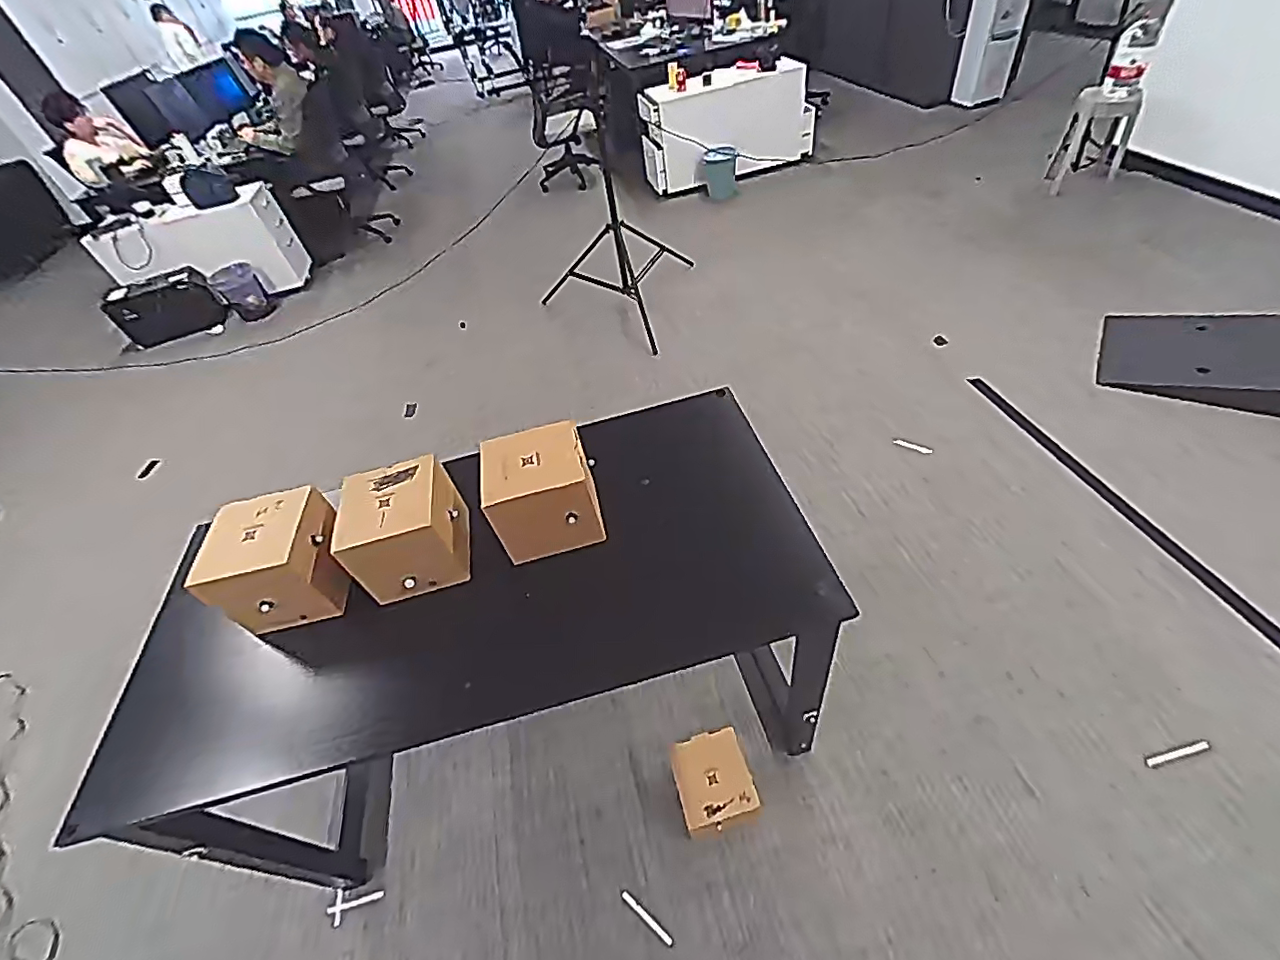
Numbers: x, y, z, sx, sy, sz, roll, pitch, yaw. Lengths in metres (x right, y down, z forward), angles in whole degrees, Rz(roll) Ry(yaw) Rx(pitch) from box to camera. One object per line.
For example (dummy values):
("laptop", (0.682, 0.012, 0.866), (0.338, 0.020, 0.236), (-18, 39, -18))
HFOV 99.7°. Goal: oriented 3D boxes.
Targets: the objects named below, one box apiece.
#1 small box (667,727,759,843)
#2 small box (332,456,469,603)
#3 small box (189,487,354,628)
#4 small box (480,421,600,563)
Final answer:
("small box", (0.170, 0.718, 1.270), (0.168, 0.176, 0.179), (-17, 46, -3))
("small box", (-0.416, 0.090, 0.970), (0.168, 0.176, 0.179), (-16, 48, -4))
("small box", (-0.634, 0.145, 0.964), (0.168, 0.176, 0.179), (-13, 46, -1))
("small box", (-0.176, 0.025, 0.985), (0.179, 0.176, 0.168), (-16, 45, -2))
